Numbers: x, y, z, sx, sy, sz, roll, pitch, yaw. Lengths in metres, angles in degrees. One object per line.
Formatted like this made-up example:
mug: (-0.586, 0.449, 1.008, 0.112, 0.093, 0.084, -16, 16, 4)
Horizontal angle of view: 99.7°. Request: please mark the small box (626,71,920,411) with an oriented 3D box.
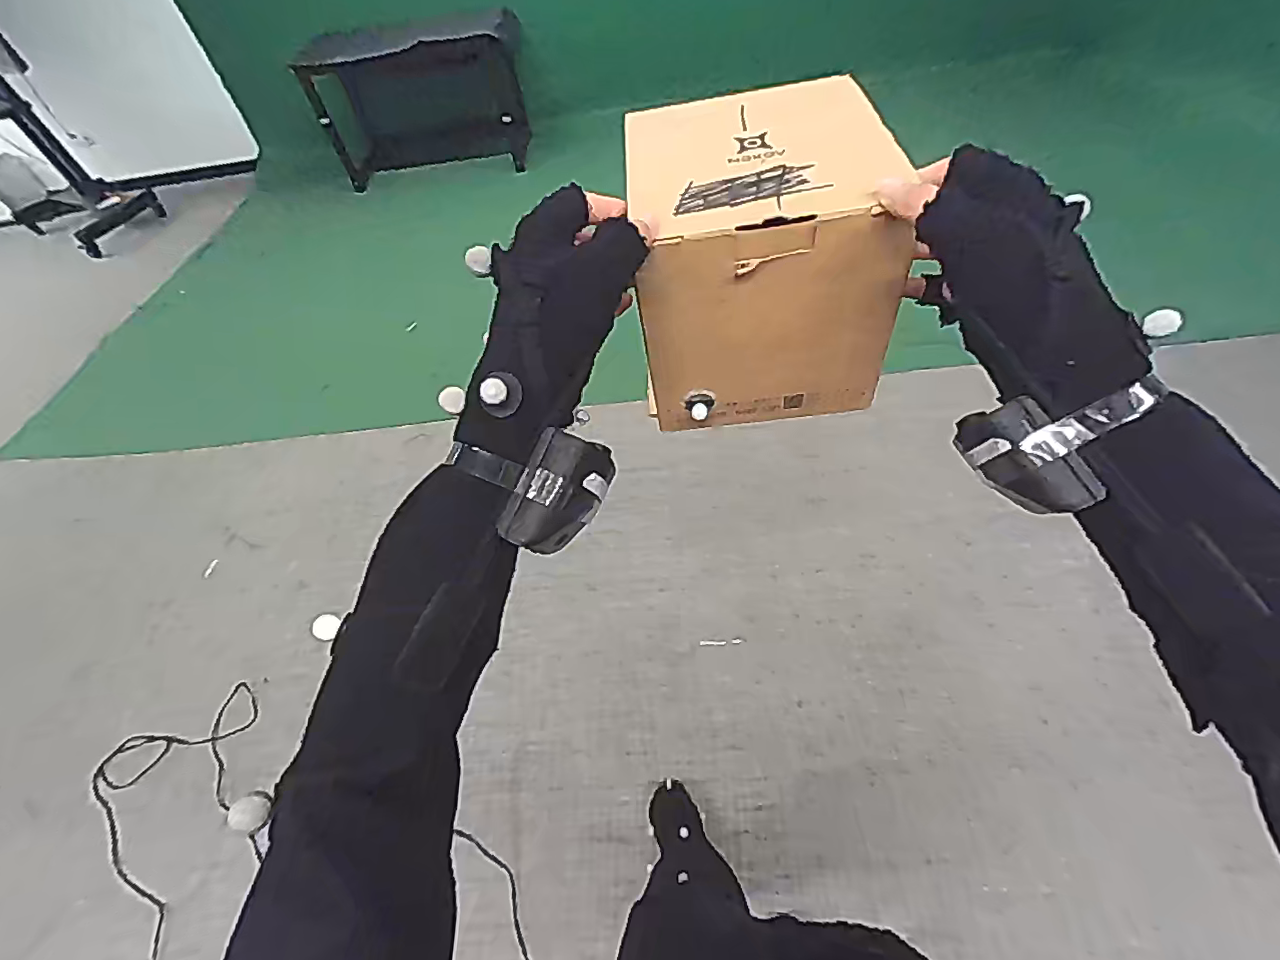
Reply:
small box: (0.084, -0.167, 0.412, 0.168, 0.176, 0.179, -6, 54, 6)
